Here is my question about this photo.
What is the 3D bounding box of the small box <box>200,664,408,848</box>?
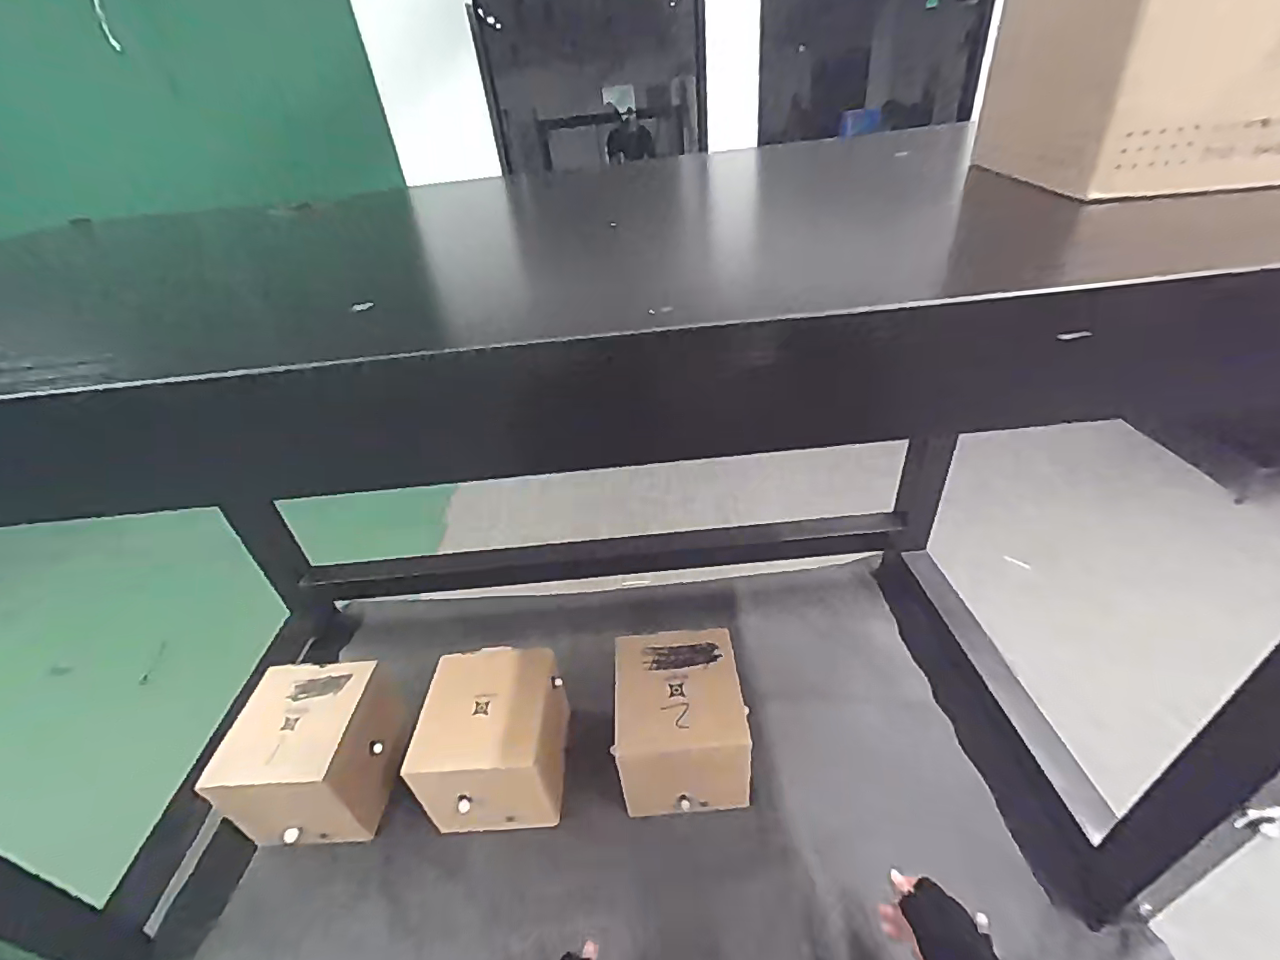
[{"bbox_3d":[-0.454,0.390,0.772,0.168,0.176,0.179,-5,35,3],"label":"small box"}]

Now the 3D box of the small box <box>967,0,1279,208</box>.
[{"bbox_3d":[0.294,-0.241,0.271,0.168,0.176,0.179,1,35,11],"label":"small box"}]

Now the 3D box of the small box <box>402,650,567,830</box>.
[{"bbox_3d":[-0.202,0.370,0.765,0.168,0.176,0.179,-5,34,2],"label":"small box"}]
